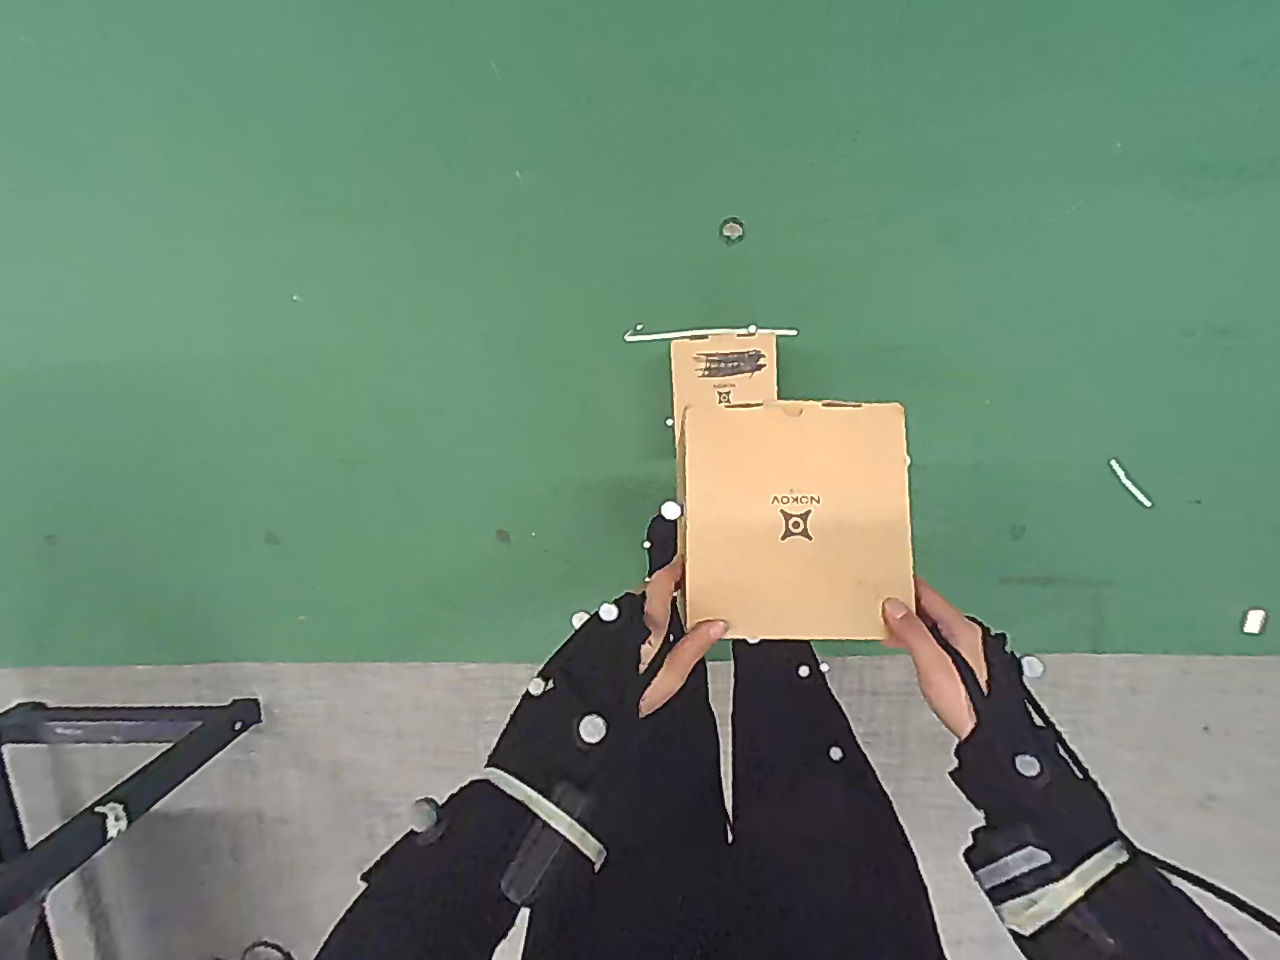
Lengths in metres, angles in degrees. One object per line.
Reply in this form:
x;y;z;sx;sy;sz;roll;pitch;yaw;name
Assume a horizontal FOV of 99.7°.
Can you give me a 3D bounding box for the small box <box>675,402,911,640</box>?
0.117;0.036;0.477;0.168;0.176;0.179;0;83;2;small box
